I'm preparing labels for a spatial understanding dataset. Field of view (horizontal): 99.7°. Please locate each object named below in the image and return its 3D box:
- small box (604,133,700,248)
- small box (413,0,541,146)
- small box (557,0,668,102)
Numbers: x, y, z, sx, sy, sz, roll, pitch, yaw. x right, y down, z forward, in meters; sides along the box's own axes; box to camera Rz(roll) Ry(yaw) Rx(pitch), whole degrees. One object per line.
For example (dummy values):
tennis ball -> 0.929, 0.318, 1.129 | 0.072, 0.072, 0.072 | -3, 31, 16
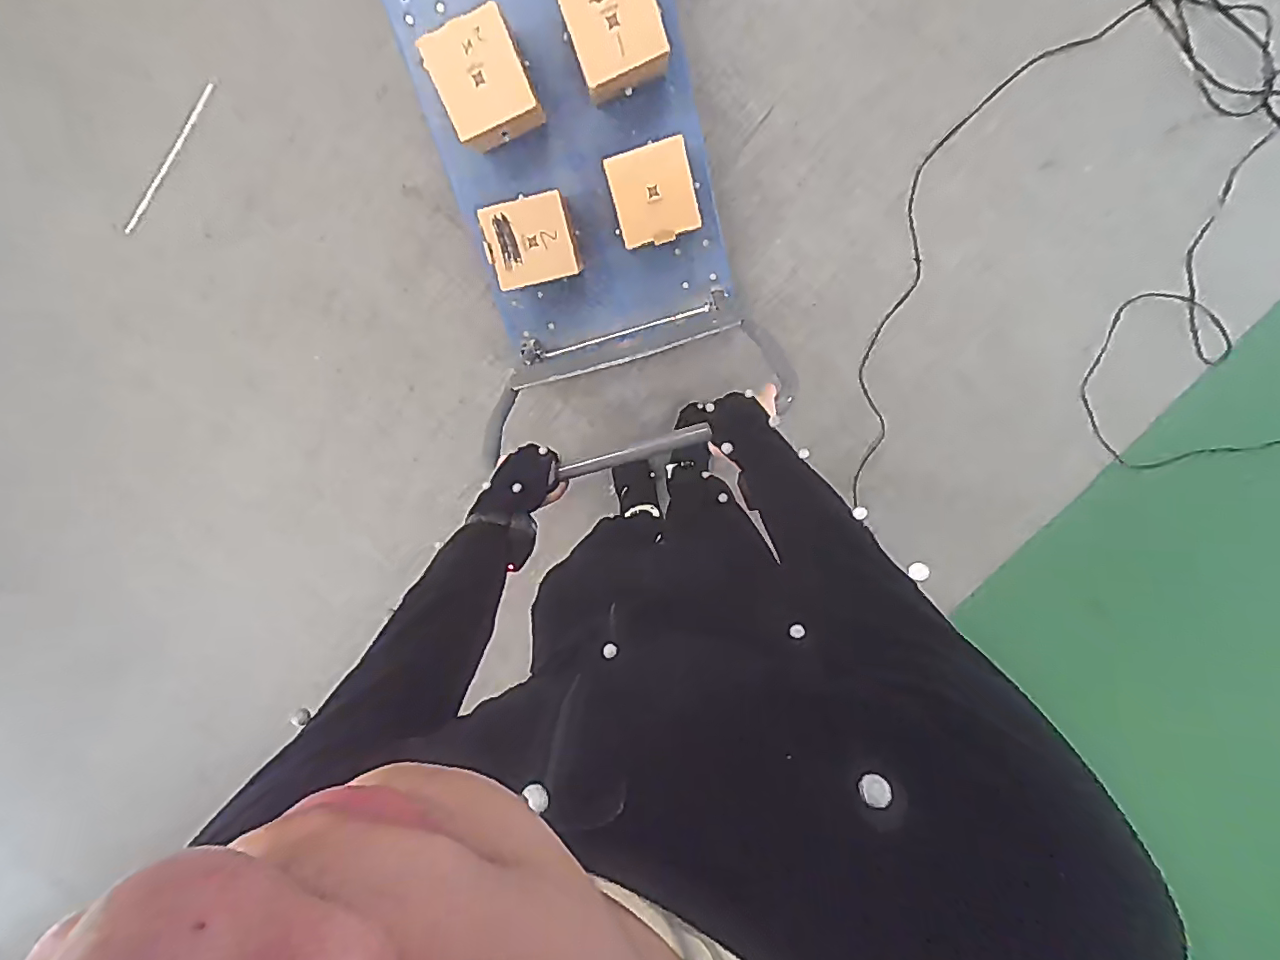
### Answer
small box -> 0.022, -0.617, 1.171 | 0.168, 0.176, 0.179 | -16, 115, 5
small box -> -0.311, -0.789, 1.075 | 0.168, 0.176, 0.179 | -21, 114, 6
small box -> -0.057, -0.874, 1.046 | 0.168, 0.176, 0.179 | -20, 115, 7
